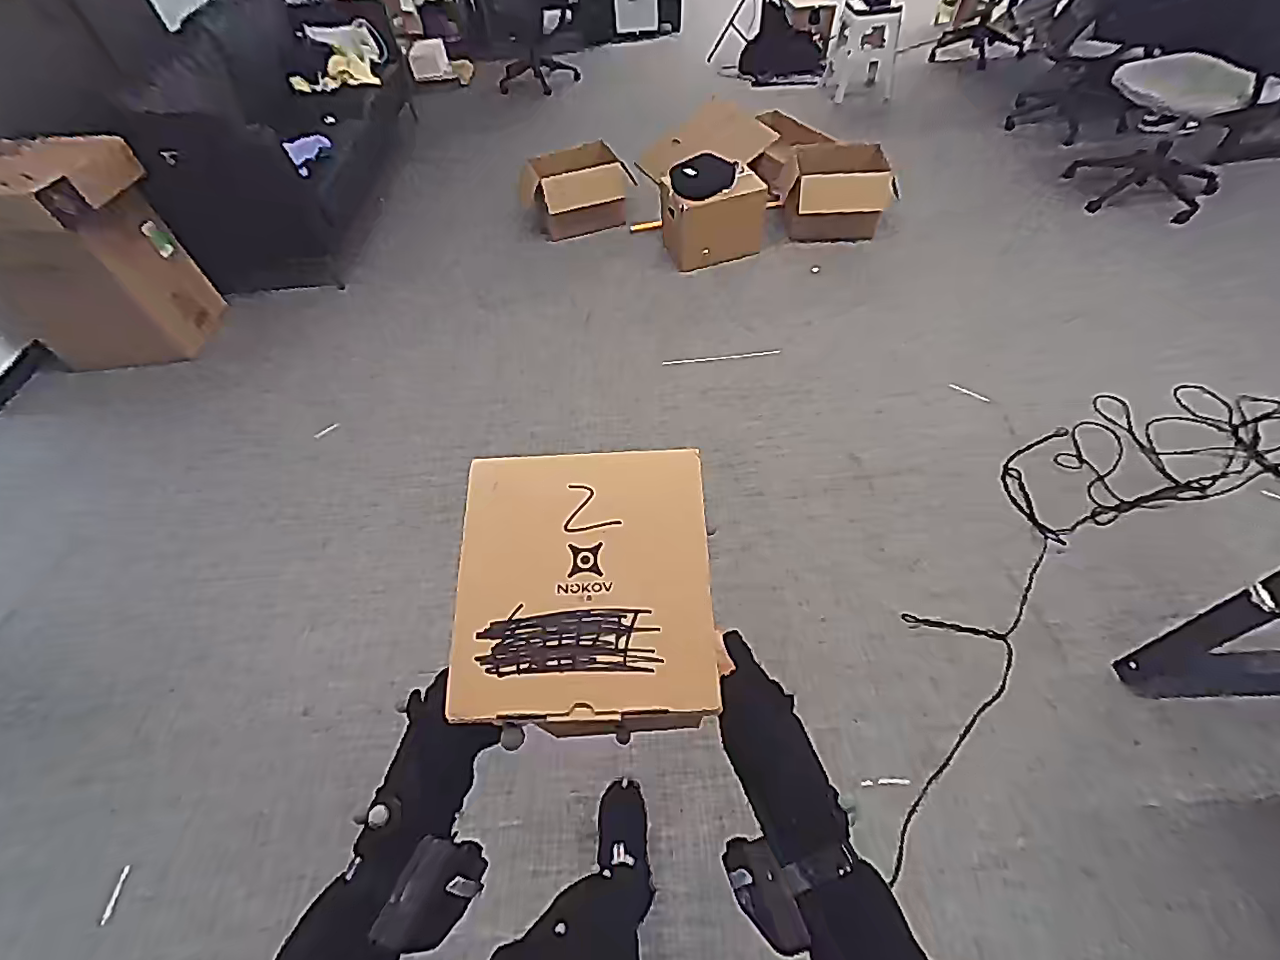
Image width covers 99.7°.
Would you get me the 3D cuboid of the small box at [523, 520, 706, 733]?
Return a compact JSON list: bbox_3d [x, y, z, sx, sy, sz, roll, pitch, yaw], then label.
[{"bbox_3d":[-0.023,0.164,0.588,0.168,0.176,0.179,-5,58,1],"label":"small box"}]
